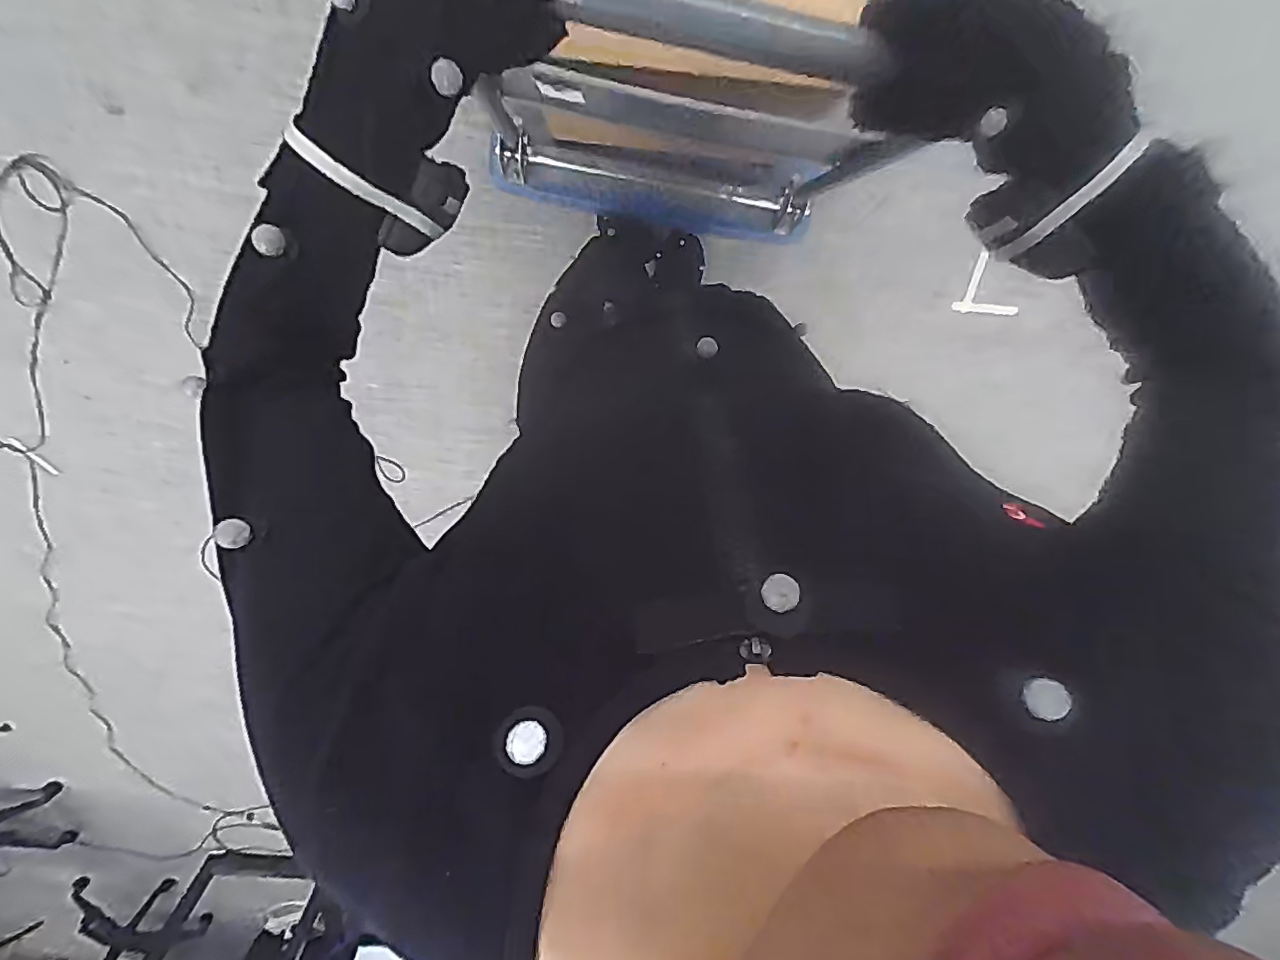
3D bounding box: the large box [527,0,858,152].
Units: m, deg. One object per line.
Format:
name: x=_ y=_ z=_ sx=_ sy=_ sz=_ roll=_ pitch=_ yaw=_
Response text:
large box: x=0.058 y=-0.693 z=0.760 sx=0.408 sy=0.320 sz=0.320 roll=3 pitch=106 yaw=-6
